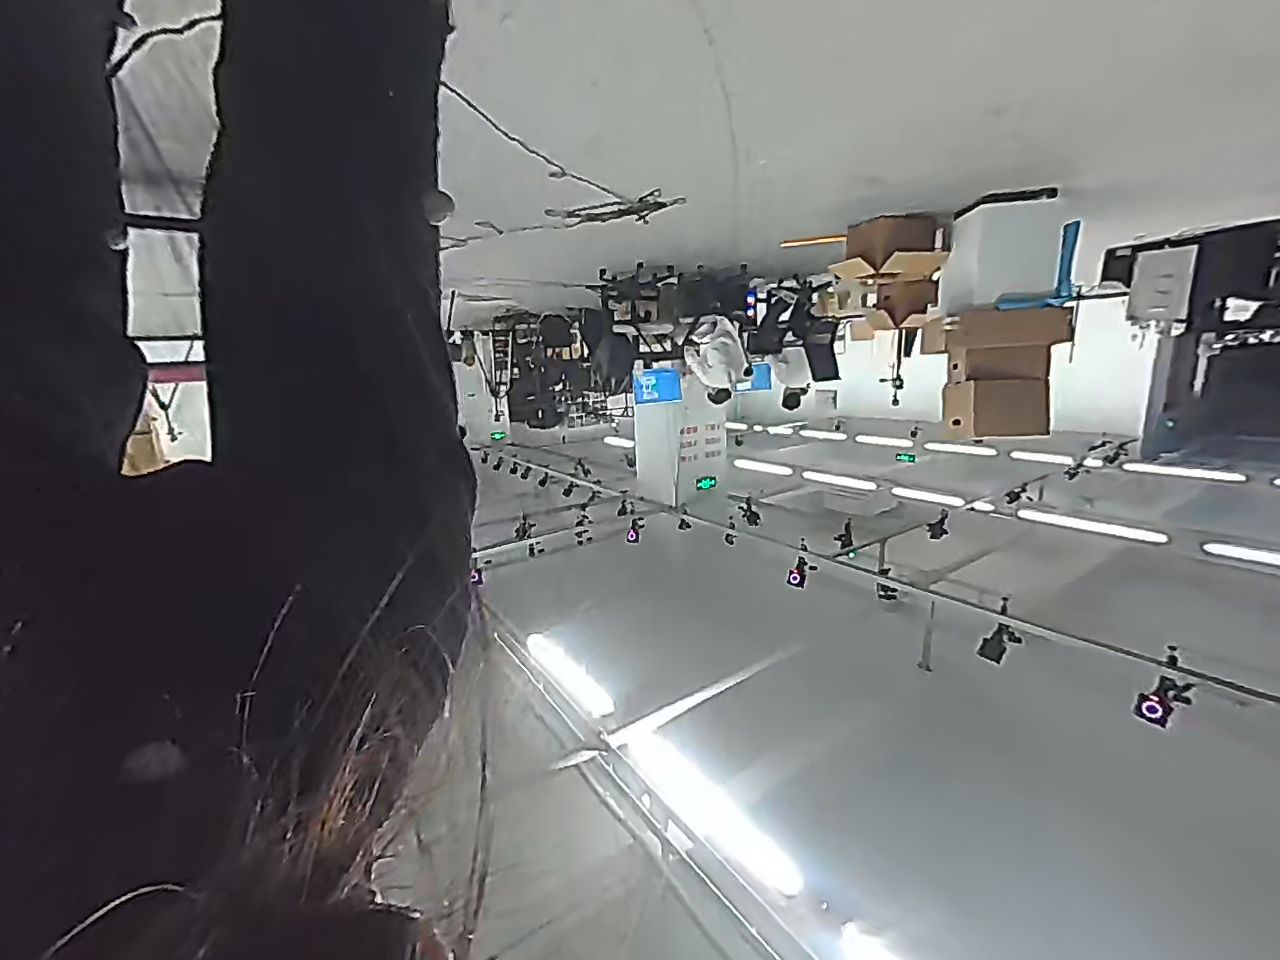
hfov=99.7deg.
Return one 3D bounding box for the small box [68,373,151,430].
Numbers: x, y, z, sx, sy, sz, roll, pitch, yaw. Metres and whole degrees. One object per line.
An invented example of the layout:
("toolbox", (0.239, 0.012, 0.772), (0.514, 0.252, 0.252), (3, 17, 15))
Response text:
("small box", (-1.791, -0.269, 1.831), (0.168, 0.176, 0.179), (-13, -163, -37))
